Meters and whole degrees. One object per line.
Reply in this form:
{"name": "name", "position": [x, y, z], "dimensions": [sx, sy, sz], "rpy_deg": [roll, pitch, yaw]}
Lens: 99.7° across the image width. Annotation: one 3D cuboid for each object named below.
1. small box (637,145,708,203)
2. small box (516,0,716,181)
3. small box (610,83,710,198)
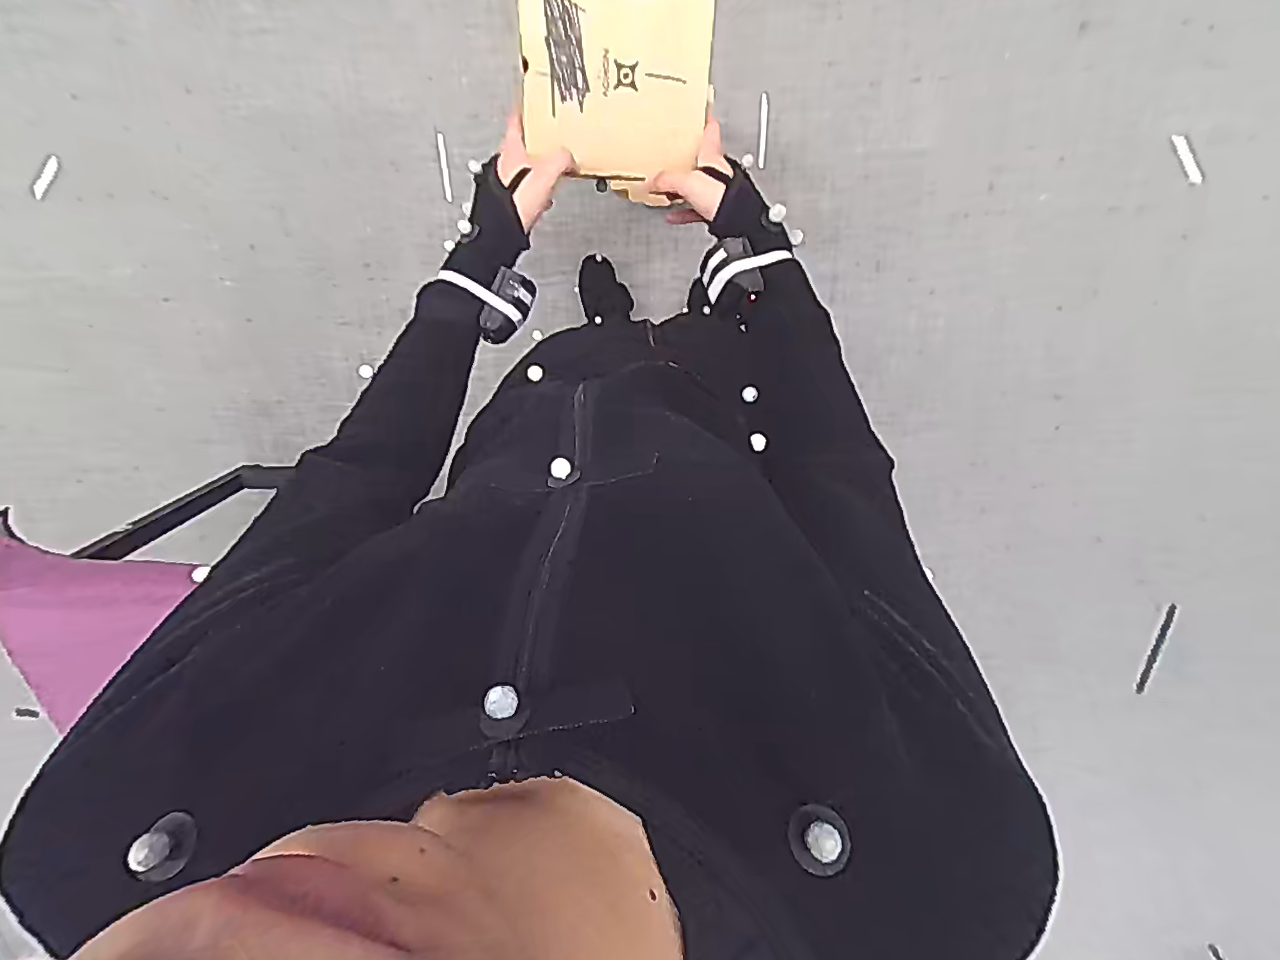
{"name": "small box", "position": [0.074, -0.756, 1.271], "dimensions": [0.168, 0.176, 0.179], "rpy_deg": [-4, 113, 5]}
{"name": "small box", "position": [-0.028, -0.408, 0.560], "dimensions": [0.179, 0.176, 0.168], "rpy_deg": [-1, 119, -5]}
{"name": "small box", "position": [0.033, -0.615, 0.974], "dimensions": [0.168, 0.176, 0.179], "rpy_deg": [1, 114, 2]}
